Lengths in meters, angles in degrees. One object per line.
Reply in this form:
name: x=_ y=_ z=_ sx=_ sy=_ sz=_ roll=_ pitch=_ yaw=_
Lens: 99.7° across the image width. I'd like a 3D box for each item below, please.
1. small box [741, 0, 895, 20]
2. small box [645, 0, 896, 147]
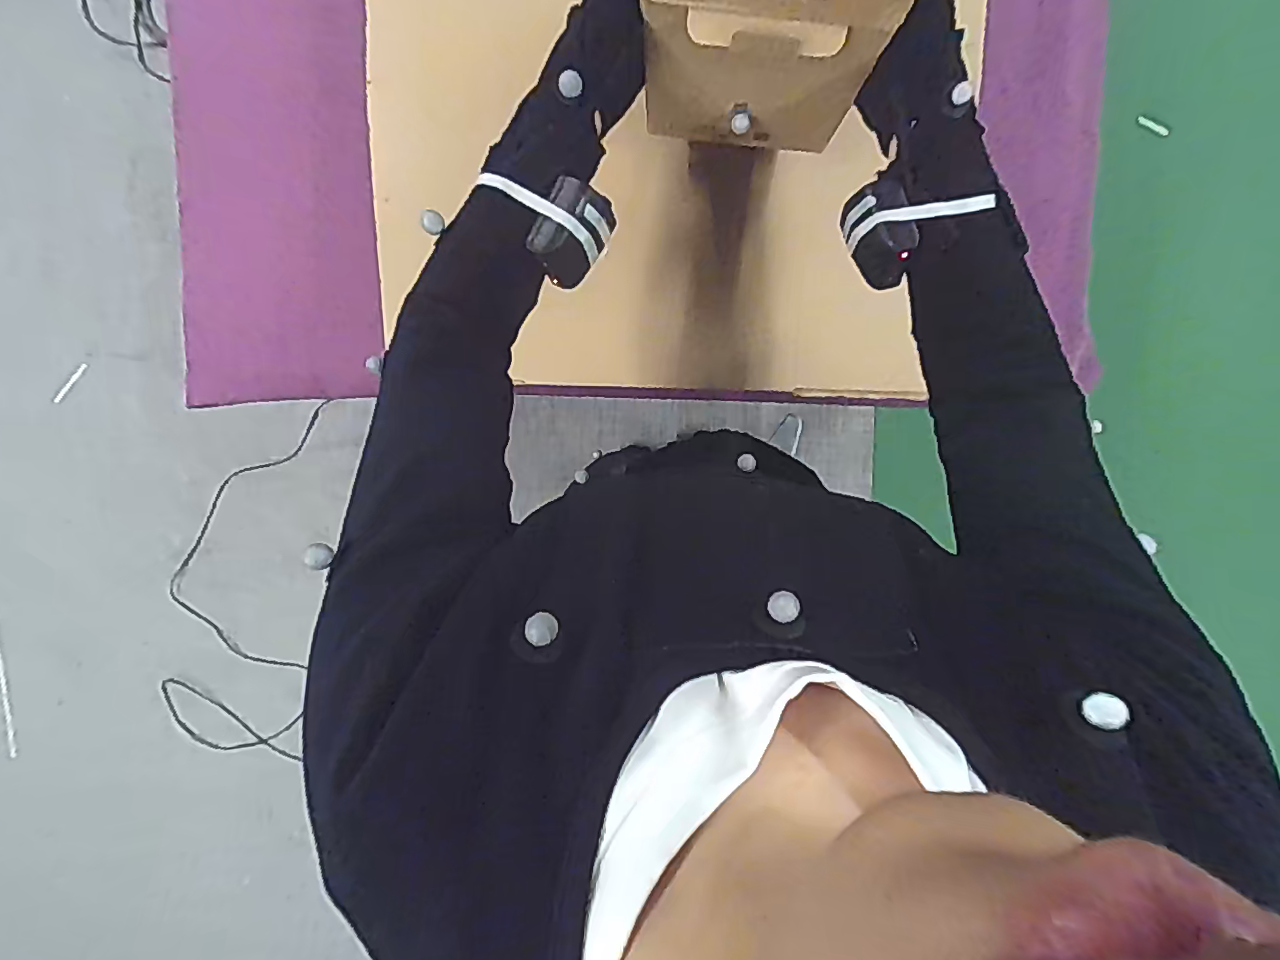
small box: x=0.088 y=-0.376 z=0.251 sx=0.168 sy=0.176 sz=0.179 roll=8 pitch=98 yaw=1
small box: x=0.095 y=-0.396 z=0.413 sx=0.168 sy=0.176 sz=0.179 roll=9 pitch=97 yaw=2
